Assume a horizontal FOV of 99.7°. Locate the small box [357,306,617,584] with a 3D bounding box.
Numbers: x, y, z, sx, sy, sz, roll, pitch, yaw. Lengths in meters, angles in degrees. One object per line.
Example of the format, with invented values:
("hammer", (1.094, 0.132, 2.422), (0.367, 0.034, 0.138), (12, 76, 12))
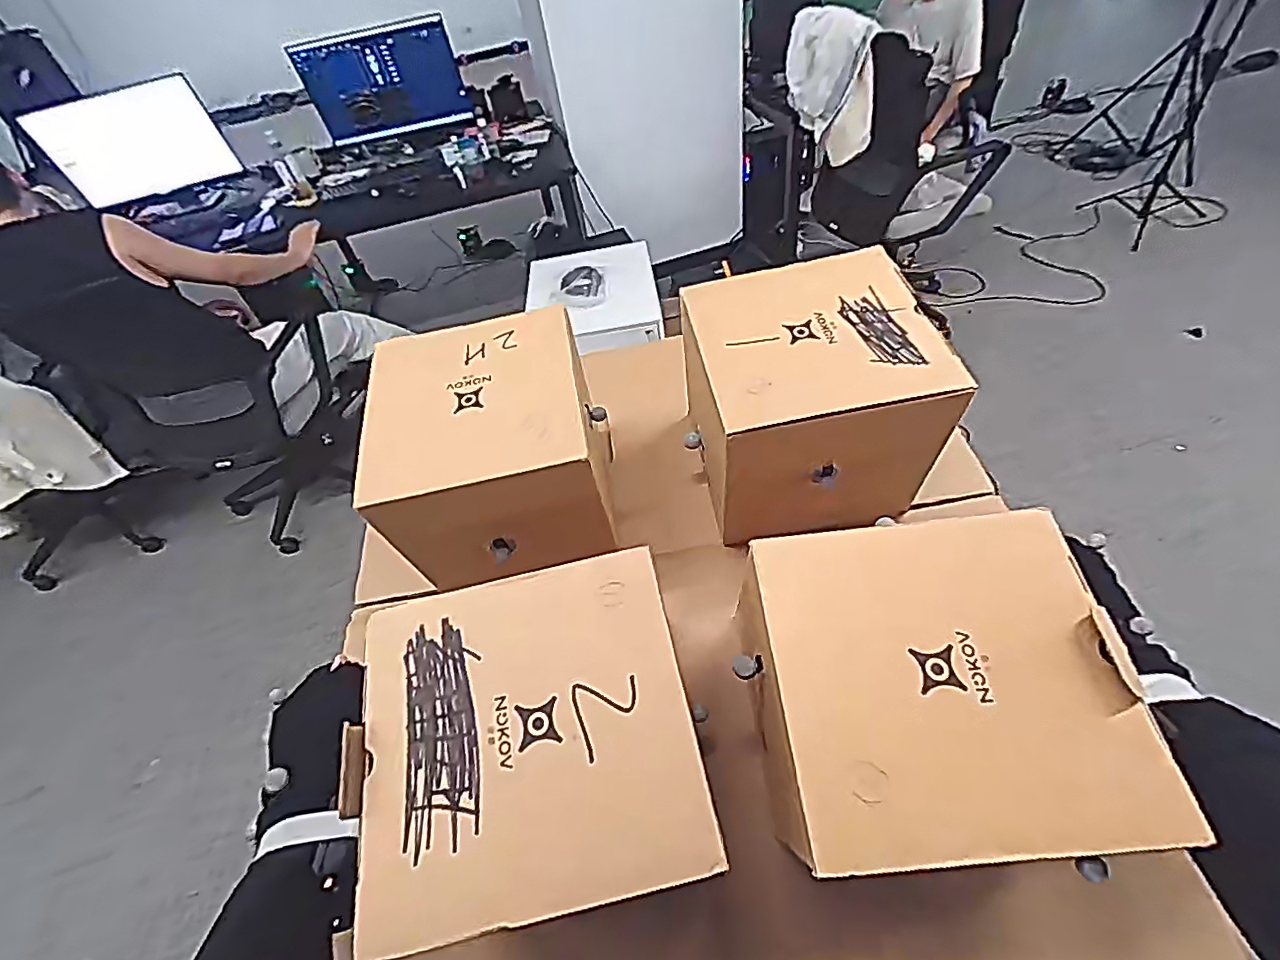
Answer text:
("small box", (-0.120, -0.020, 0.484), (0.168, 0.176, 0.179), (-11, 55, 0))
